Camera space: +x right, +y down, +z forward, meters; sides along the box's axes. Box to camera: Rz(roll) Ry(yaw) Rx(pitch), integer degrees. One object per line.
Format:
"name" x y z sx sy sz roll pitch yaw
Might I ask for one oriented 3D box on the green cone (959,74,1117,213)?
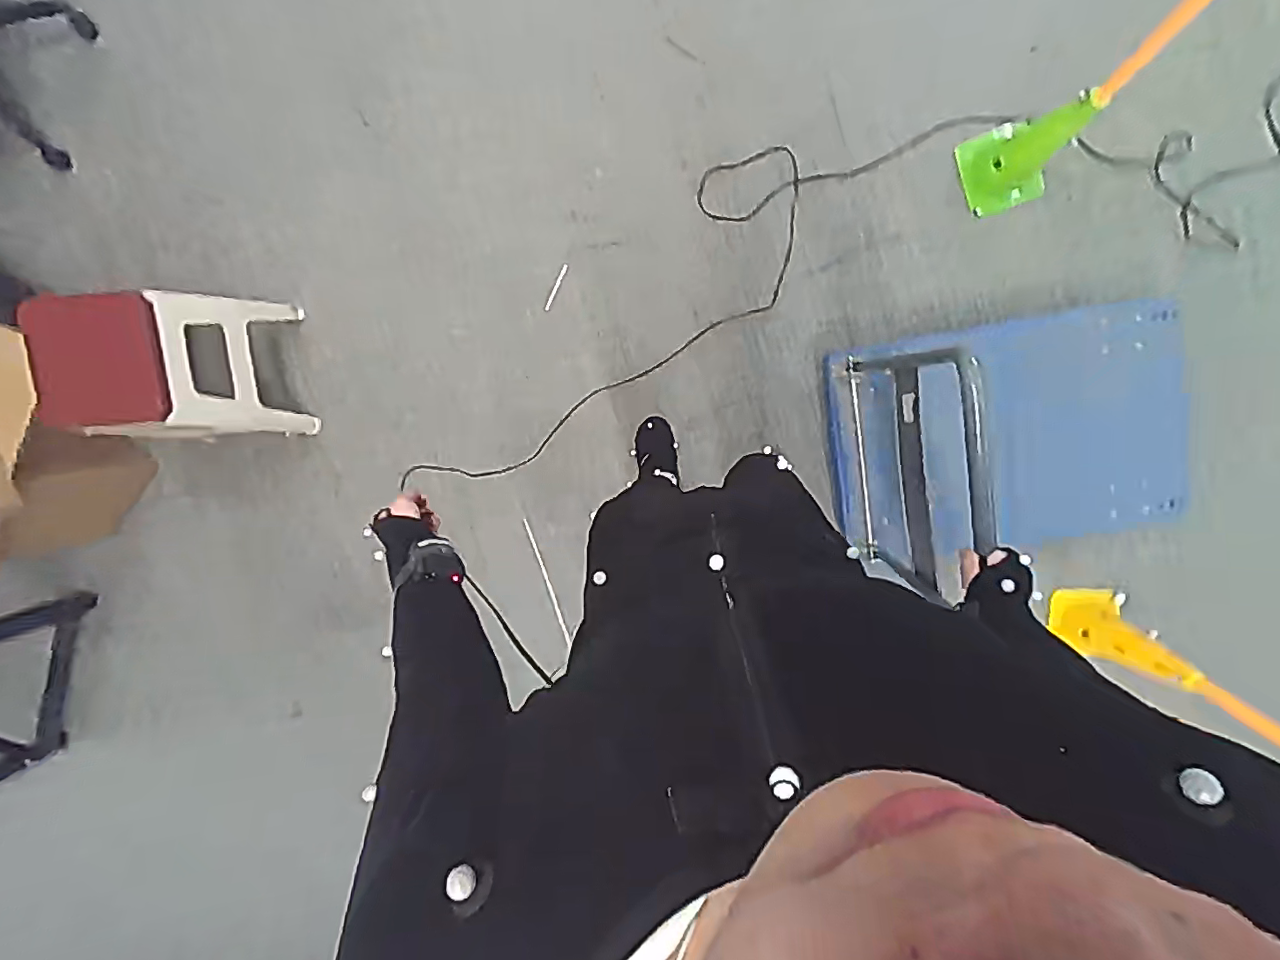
"green cone" 0.963 -0.819 1.272 0.200 0.368 0.202 -21 95 6
